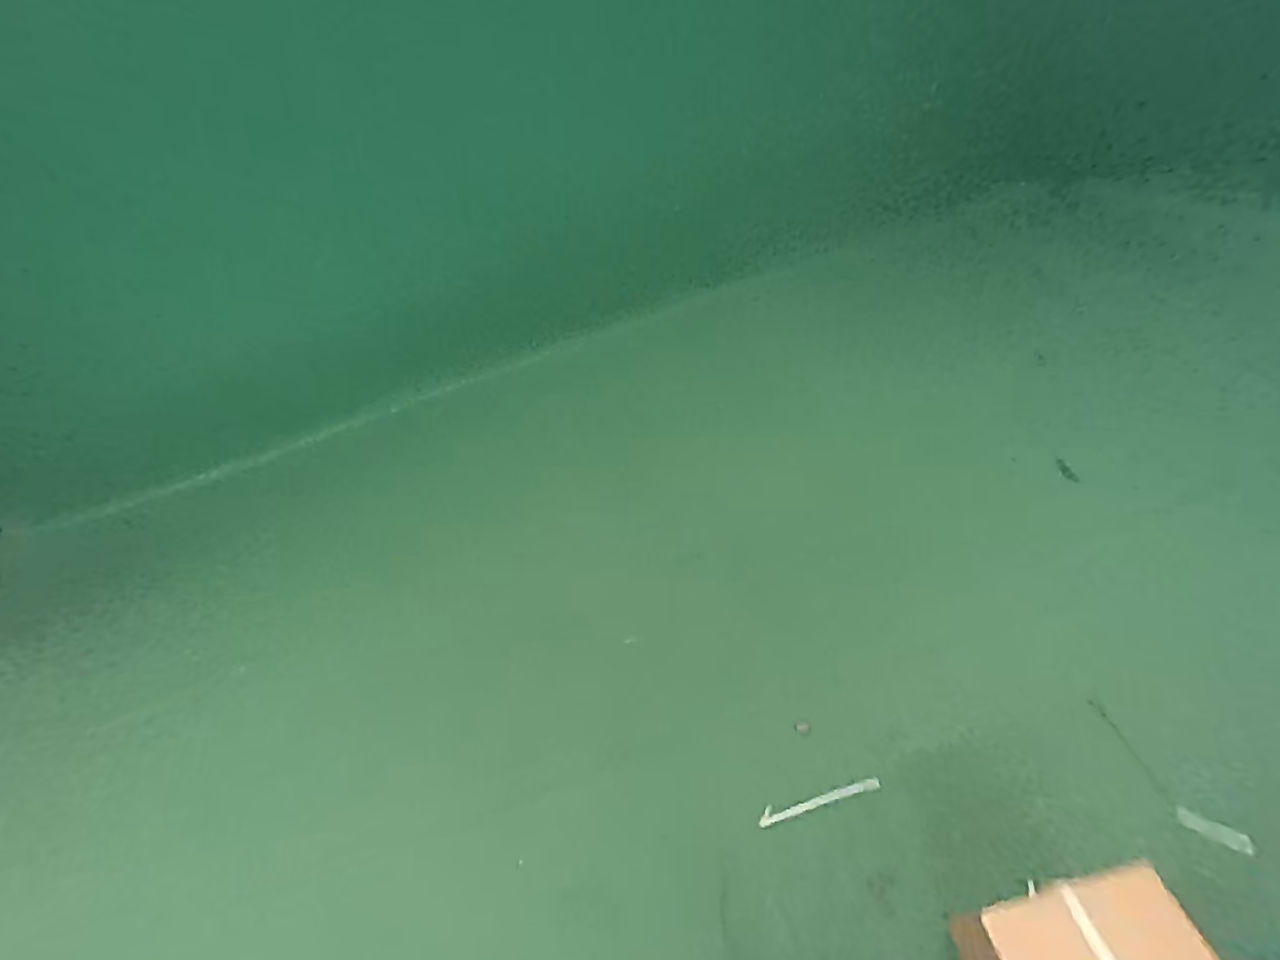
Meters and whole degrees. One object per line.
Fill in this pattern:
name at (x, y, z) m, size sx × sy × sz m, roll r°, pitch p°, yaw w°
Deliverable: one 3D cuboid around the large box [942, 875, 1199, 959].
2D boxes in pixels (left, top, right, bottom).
large box at (0.806, 0.974, 0.929) m, size 0.320 × 0.320 × 0.408 m, roll -17°, pitch 47°, yaw 1°
